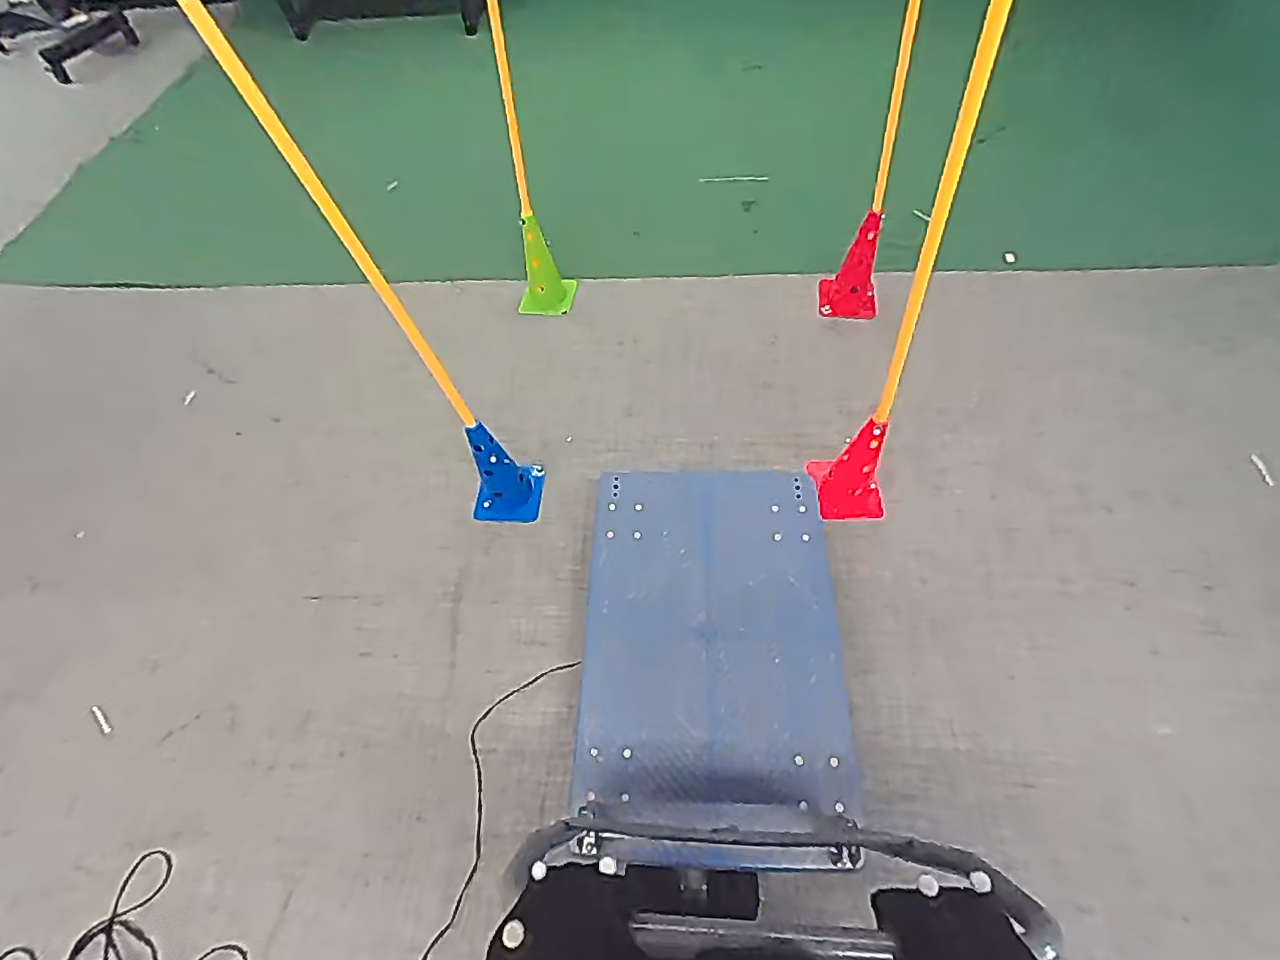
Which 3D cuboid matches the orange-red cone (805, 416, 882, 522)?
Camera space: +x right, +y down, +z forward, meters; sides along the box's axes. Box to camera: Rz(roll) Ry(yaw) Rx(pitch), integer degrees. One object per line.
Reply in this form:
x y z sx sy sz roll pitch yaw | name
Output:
0.588 -0.051 1.471 0.199 0.360 0.198 -1 59 6 | orange-red cone

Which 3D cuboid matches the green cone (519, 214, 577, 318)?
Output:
-0.371 -0.800 1.982 0.202 0.368 0.200 4 59 8 | green cone
